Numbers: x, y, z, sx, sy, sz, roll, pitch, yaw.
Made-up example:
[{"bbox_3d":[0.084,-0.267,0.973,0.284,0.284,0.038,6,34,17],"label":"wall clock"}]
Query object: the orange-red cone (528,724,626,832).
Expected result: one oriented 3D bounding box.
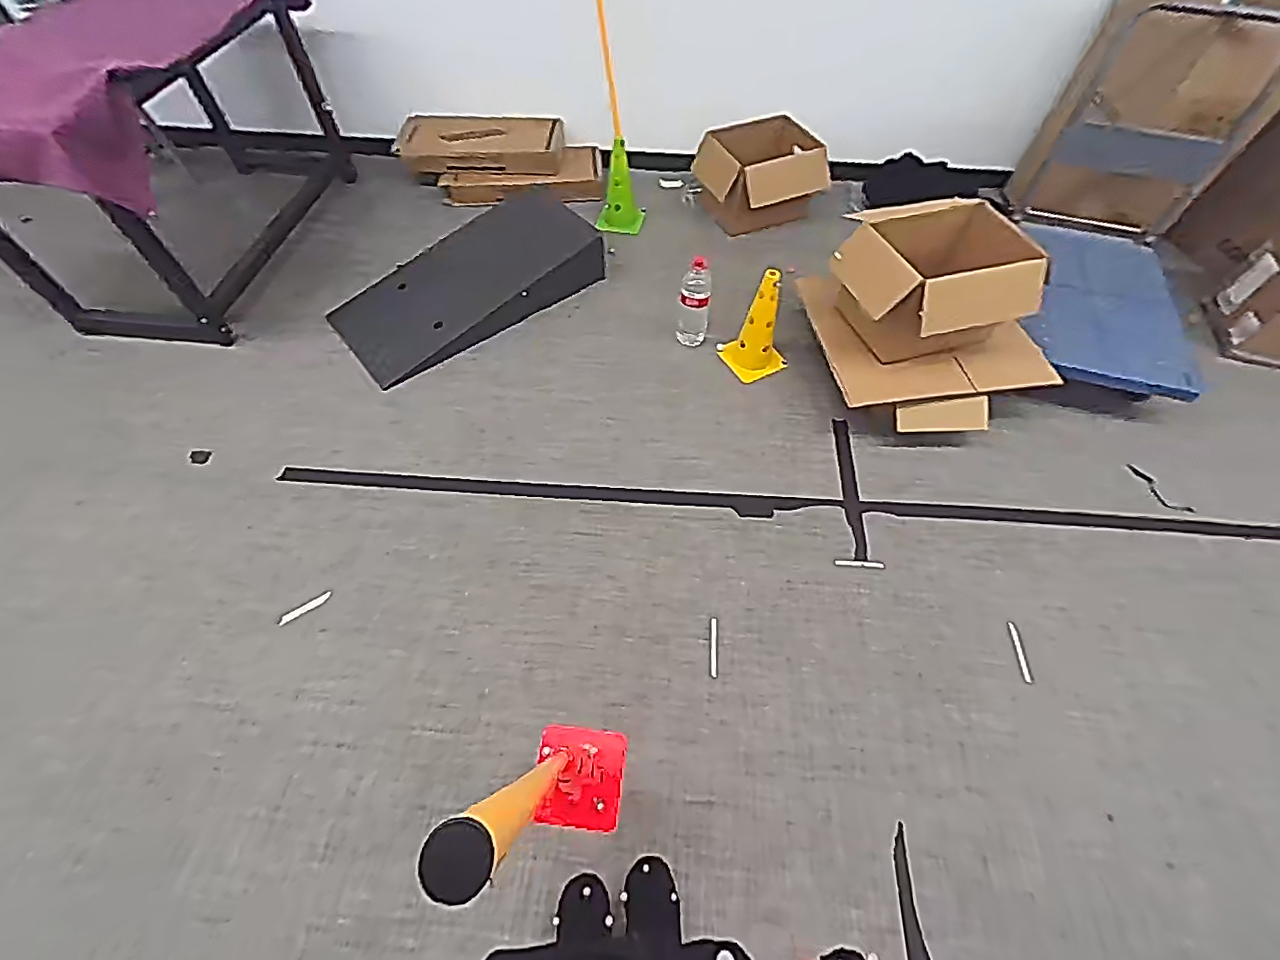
[{"bbox_3d":[-0.135,0.570,1.074,0.198,0.360,0.199,7,56,3],"label":"orange-red cone"}]
